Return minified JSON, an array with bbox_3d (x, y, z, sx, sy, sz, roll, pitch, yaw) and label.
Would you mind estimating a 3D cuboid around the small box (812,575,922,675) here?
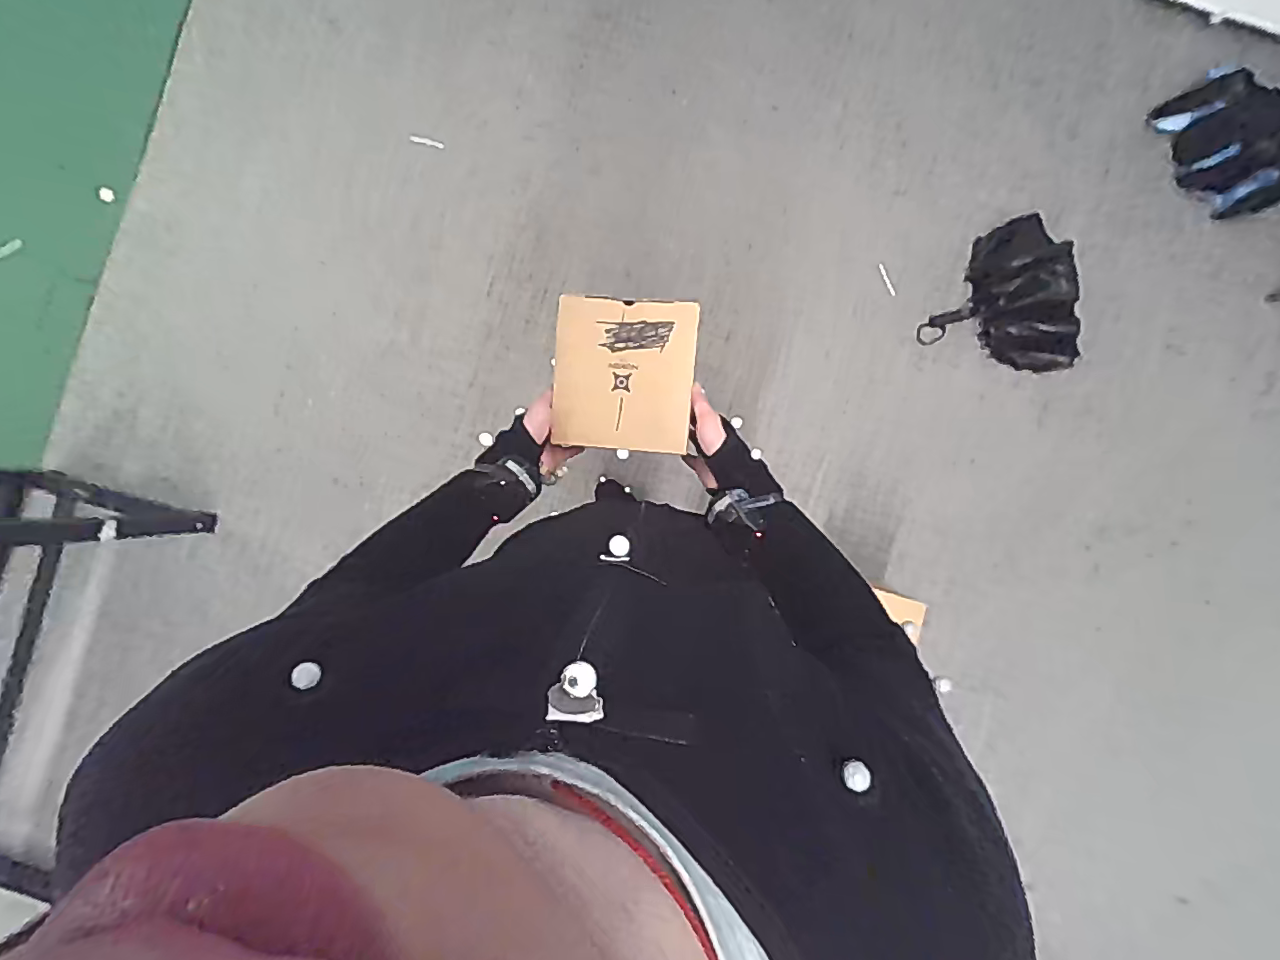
[{"bbox_3d":[0.525,0.332,1.279,0.179,0.176,0.168,15,91,3],"label":"small box"}]
